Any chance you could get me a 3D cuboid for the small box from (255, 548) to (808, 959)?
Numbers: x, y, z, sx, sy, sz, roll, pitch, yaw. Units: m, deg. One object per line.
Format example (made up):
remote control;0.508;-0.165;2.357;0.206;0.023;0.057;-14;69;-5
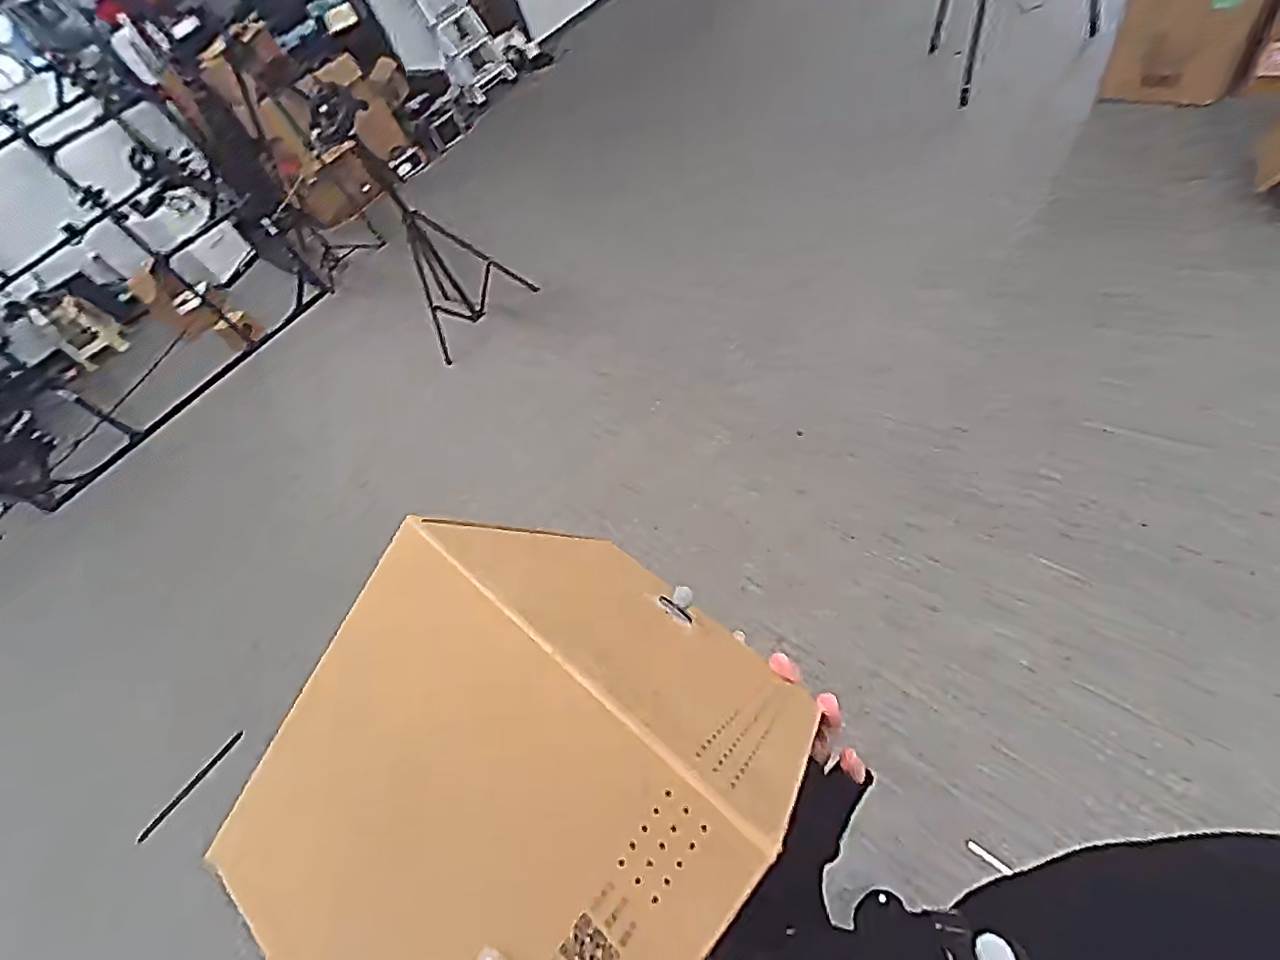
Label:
small box;-0.035;0.151;0.274;0.176;0.179;0.168;33;94;24
